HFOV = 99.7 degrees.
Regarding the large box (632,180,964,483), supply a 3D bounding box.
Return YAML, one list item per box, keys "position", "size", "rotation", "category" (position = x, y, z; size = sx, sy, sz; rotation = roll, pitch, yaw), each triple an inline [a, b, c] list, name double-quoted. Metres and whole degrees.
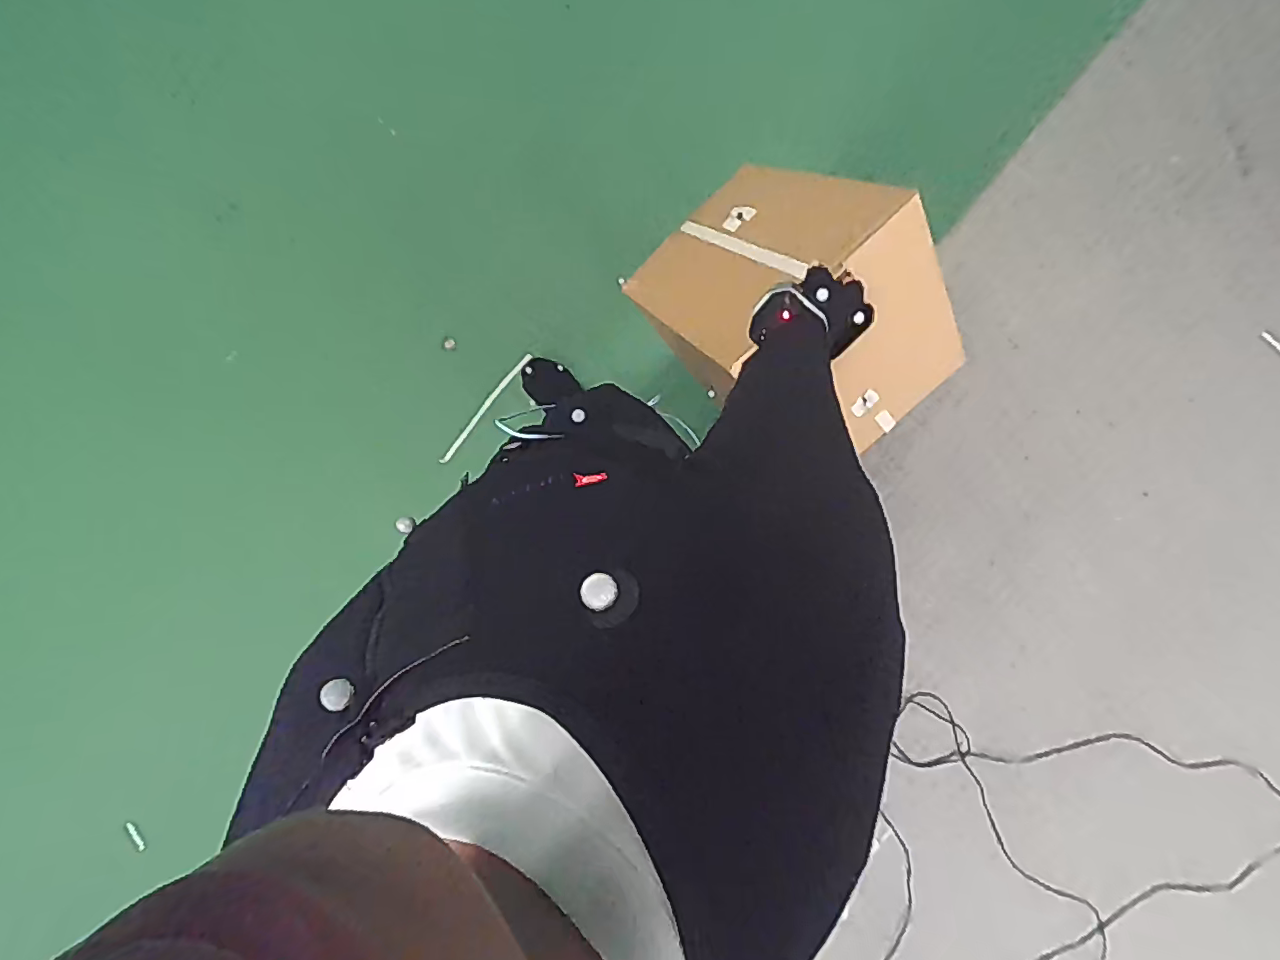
- position: [0.253, -0.266, 0.936]
  size: [0.320, 0.408, 0.320]
  rotation: [-42, 128, 6]
  category: "large box"
